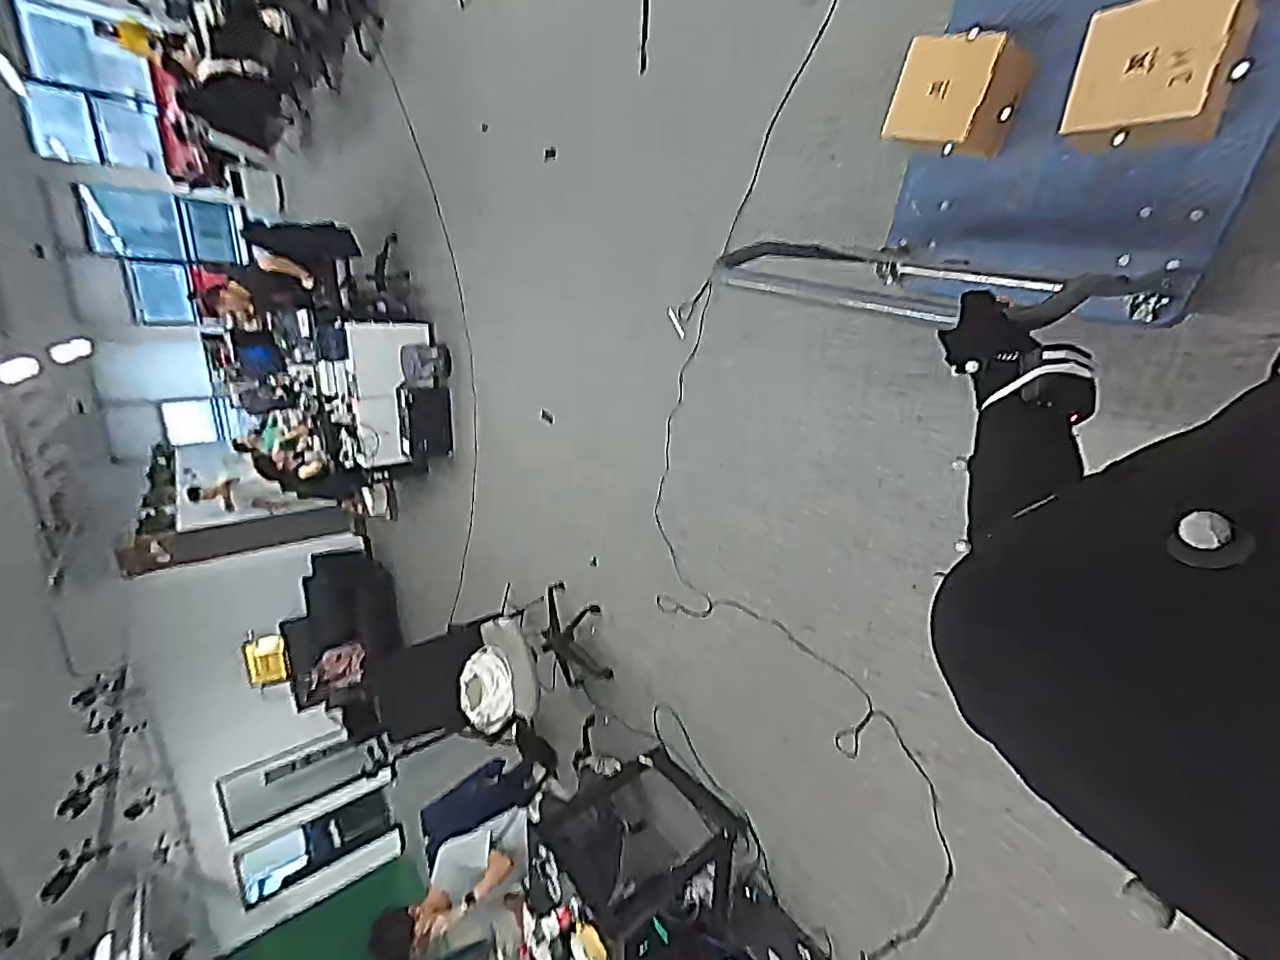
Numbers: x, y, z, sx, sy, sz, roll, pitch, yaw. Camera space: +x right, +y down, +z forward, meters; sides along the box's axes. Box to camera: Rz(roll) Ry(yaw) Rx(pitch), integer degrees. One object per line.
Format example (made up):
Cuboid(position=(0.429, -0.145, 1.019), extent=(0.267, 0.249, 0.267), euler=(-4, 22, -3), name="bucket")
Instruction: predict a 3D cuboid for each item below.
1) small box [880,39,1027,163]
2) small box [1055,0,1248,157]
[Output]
Cuboid(position=(0.624, -0.749, 1.081), extent=(0.179, 0.176, 0.168), euler=(35, 125, 38), name="small box")
Cuboid(position=(0.820, -0.637, 0.871), extent=(0.179, 0.176, 0.168), euler=(25, 118, 45), name="small box")
